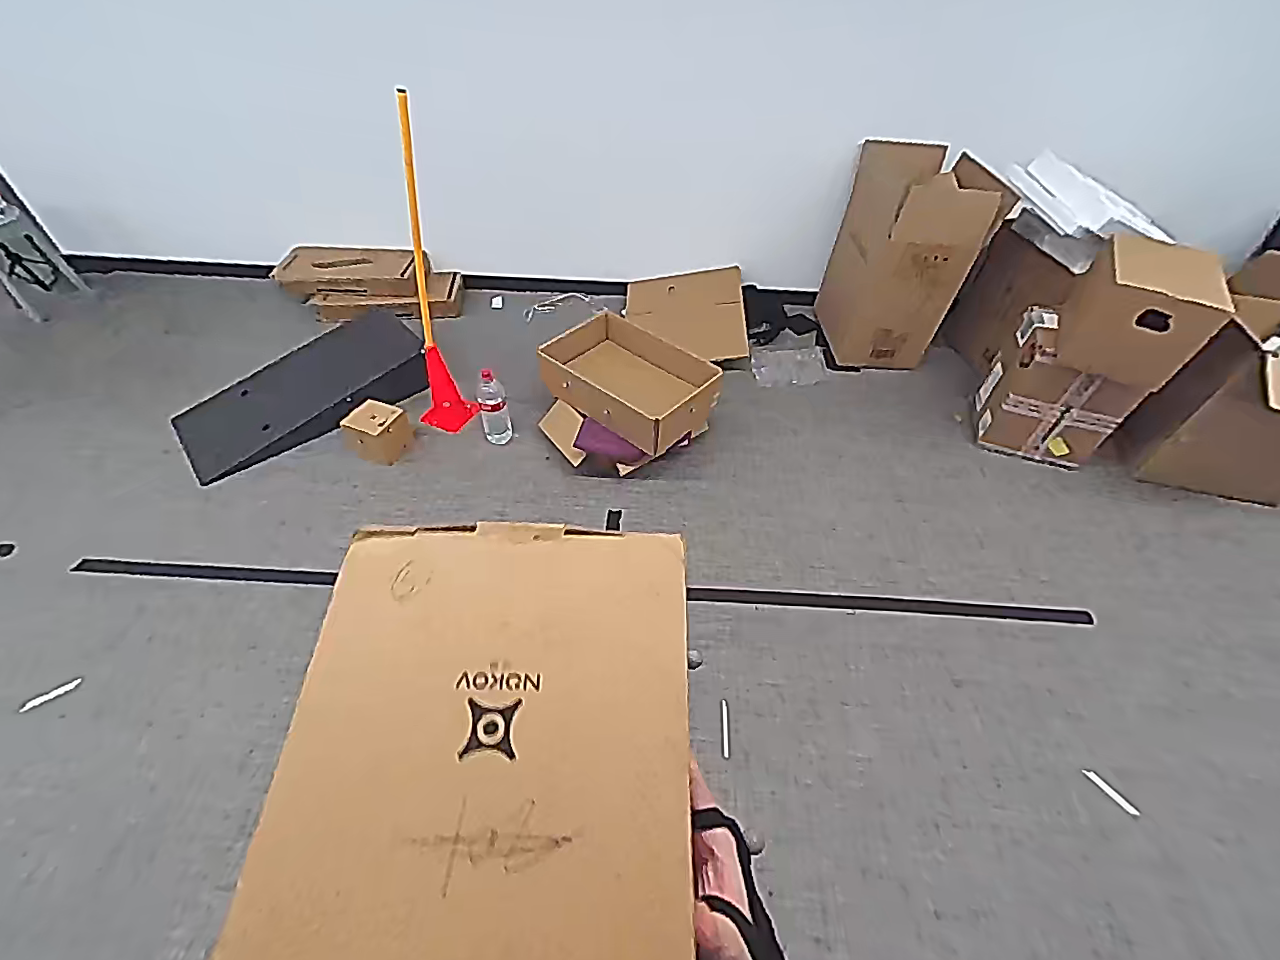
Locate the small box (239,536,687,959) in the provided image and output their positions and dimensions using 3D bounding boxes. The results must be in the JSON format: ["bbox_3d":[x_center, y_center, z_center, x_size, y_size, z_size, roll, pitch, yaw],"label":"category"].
[{"bbox_3d":[-0.066,0.147,0.306,0.168,0.176,0.179,2,60,-1],"label":"small box"}]
